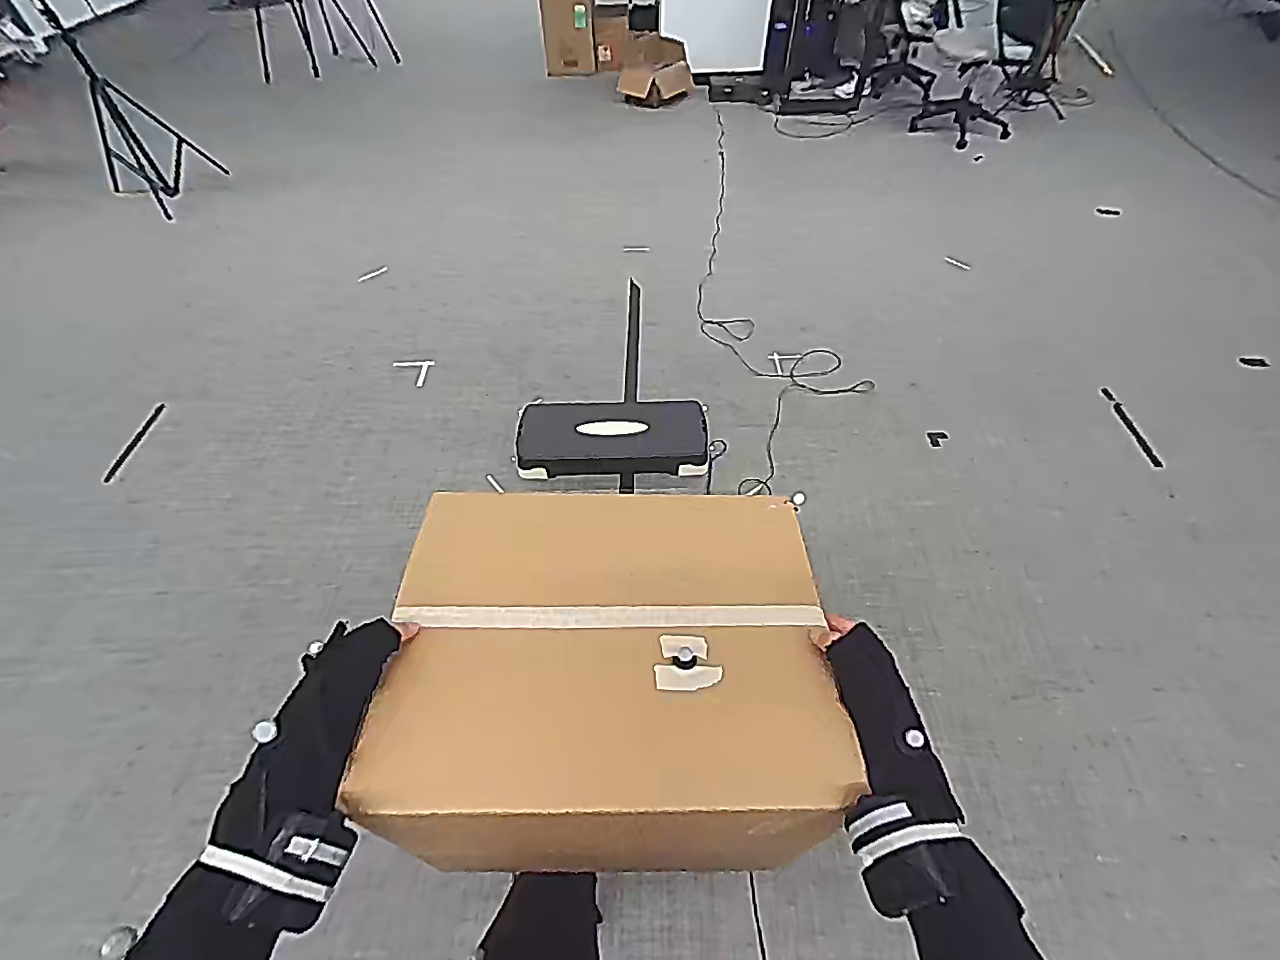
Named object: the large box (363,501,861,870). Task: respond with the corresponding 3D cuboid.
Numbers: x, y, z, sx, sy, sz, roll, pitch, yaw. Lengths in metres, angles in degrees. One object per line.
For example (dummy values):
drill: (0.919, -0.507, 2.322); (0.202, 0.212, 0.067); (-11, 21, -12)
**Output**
large box: (-0.028, 0.239, 0.633); (0.408, 0.320, 0.320); (1, 47, -2)
